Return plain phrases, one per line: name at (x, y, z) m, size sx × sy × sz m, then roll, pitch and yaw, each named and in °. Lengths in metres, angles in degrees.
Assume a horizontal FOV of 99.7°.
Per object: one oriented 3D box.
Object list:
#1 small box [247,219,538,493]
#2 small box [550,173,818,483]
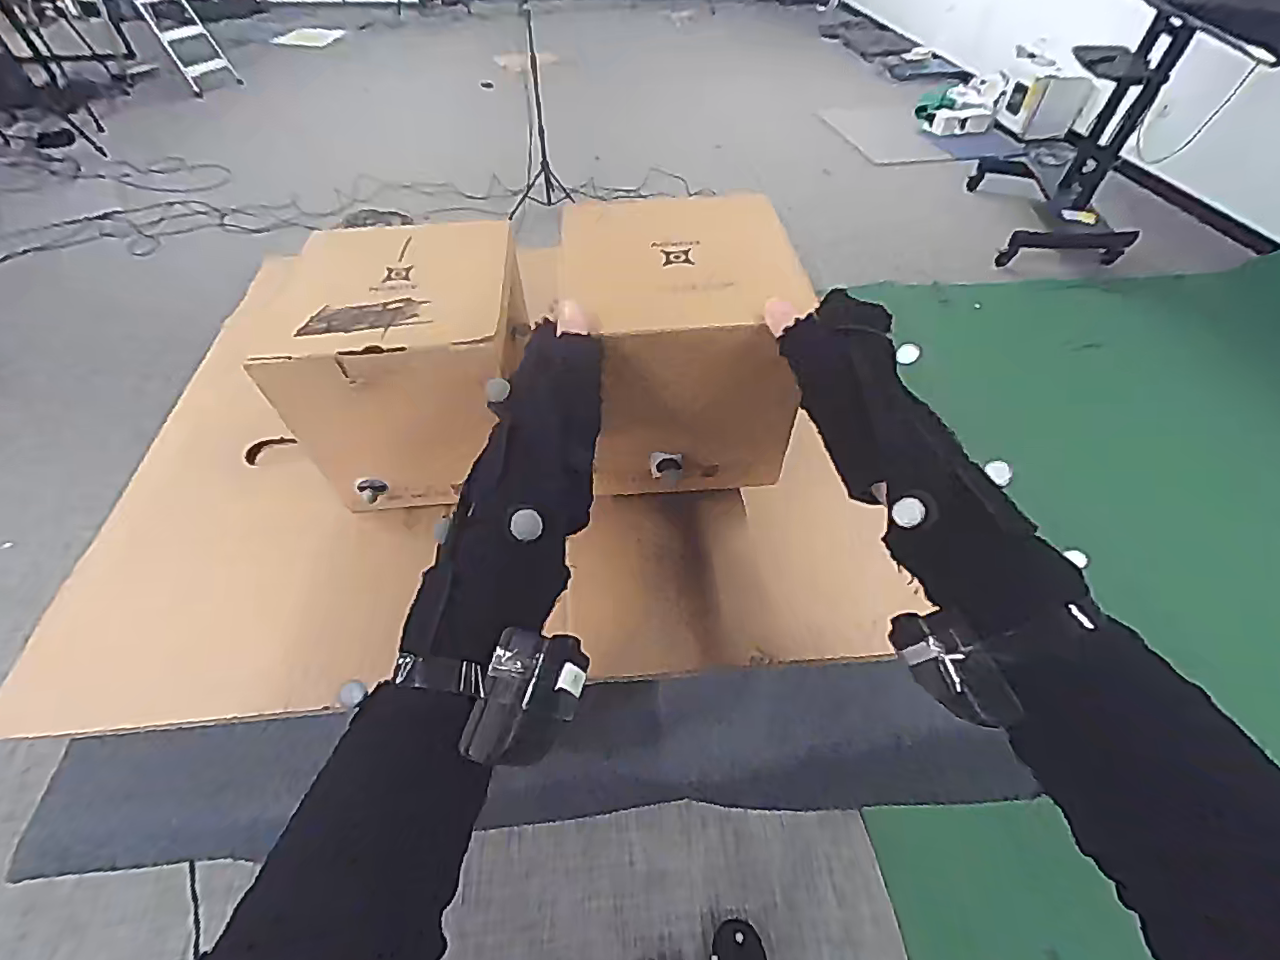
small box at (-0.185, -0.101, 0.473) m, size 0.168 × 0.176 × 0.179 m, roll -5°, pitch 51°, yaw -3°
small box at (0.023, -0.119, 0.439) m, size 0.168 × 0.176 × 0.179 m, roll -6°, pitch 53°, yaw -1°
